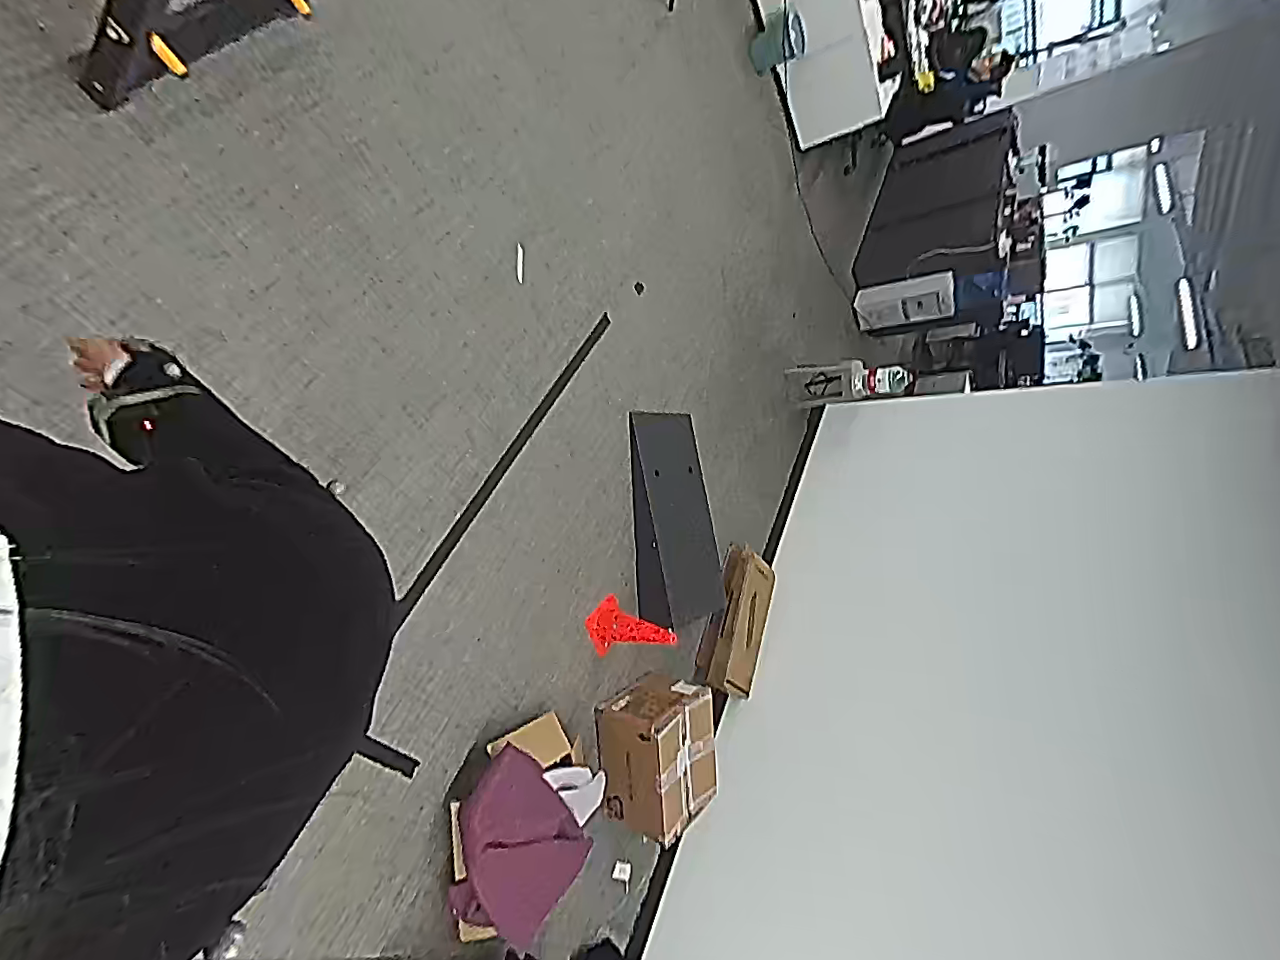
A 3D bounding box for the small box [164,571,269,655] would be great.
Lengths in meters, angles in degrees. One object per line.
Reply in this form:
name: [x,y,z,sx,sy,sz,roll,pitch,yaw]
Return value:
small box: [-0.903,0.319,1.203,0.168,0.176,0.179,51,53,-39]
